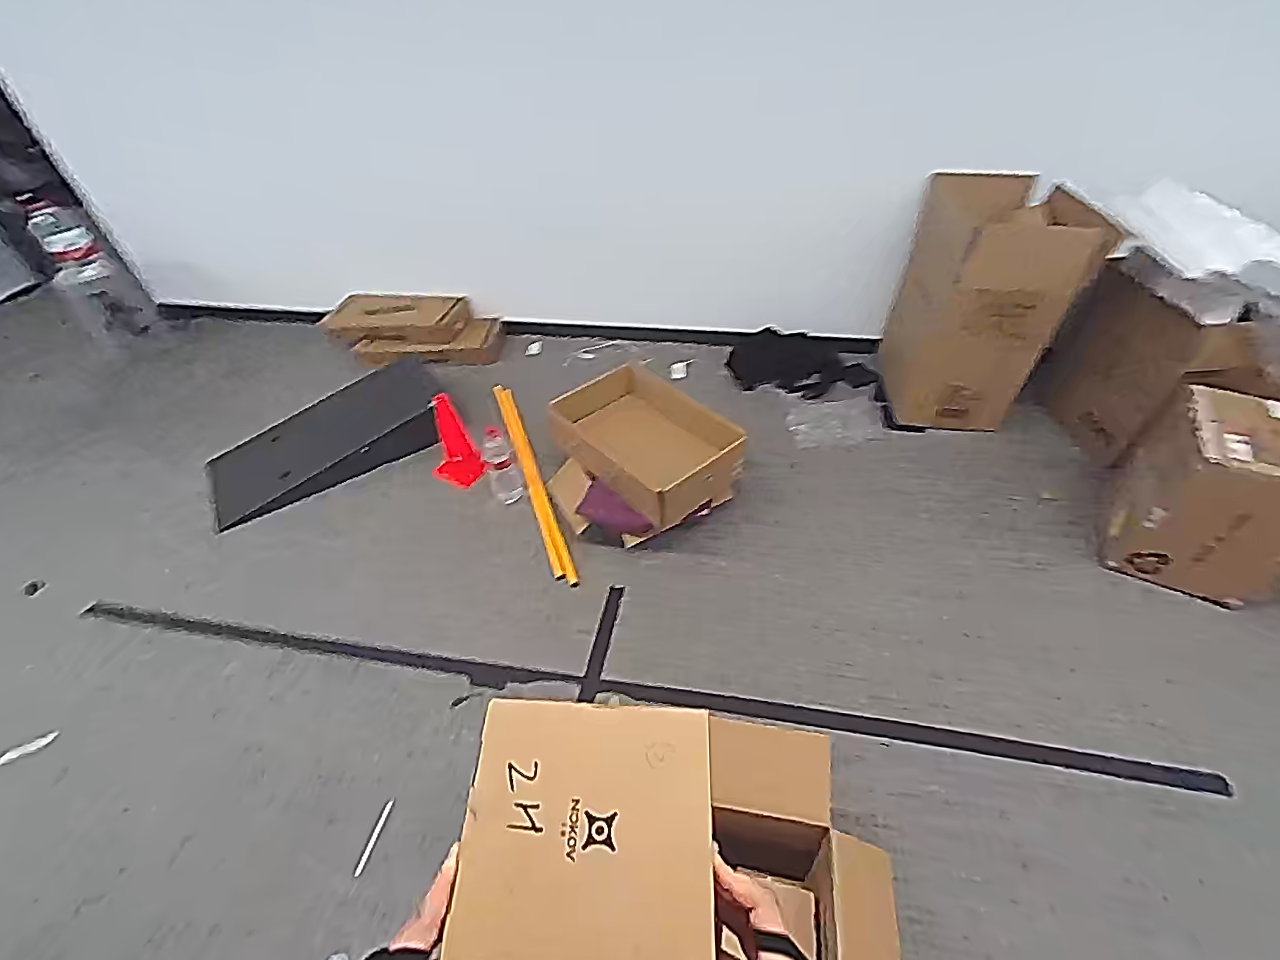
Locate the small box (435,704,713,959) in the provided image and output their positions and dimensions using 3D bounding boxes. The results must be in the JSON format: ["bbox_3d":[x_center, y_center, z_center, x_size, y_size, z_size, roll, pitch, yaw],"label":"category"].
[{"bbox_3d":[-0.041,0.291,0.441,0.179,0.176,0.168,2,54,0],"label":"small box"}]
